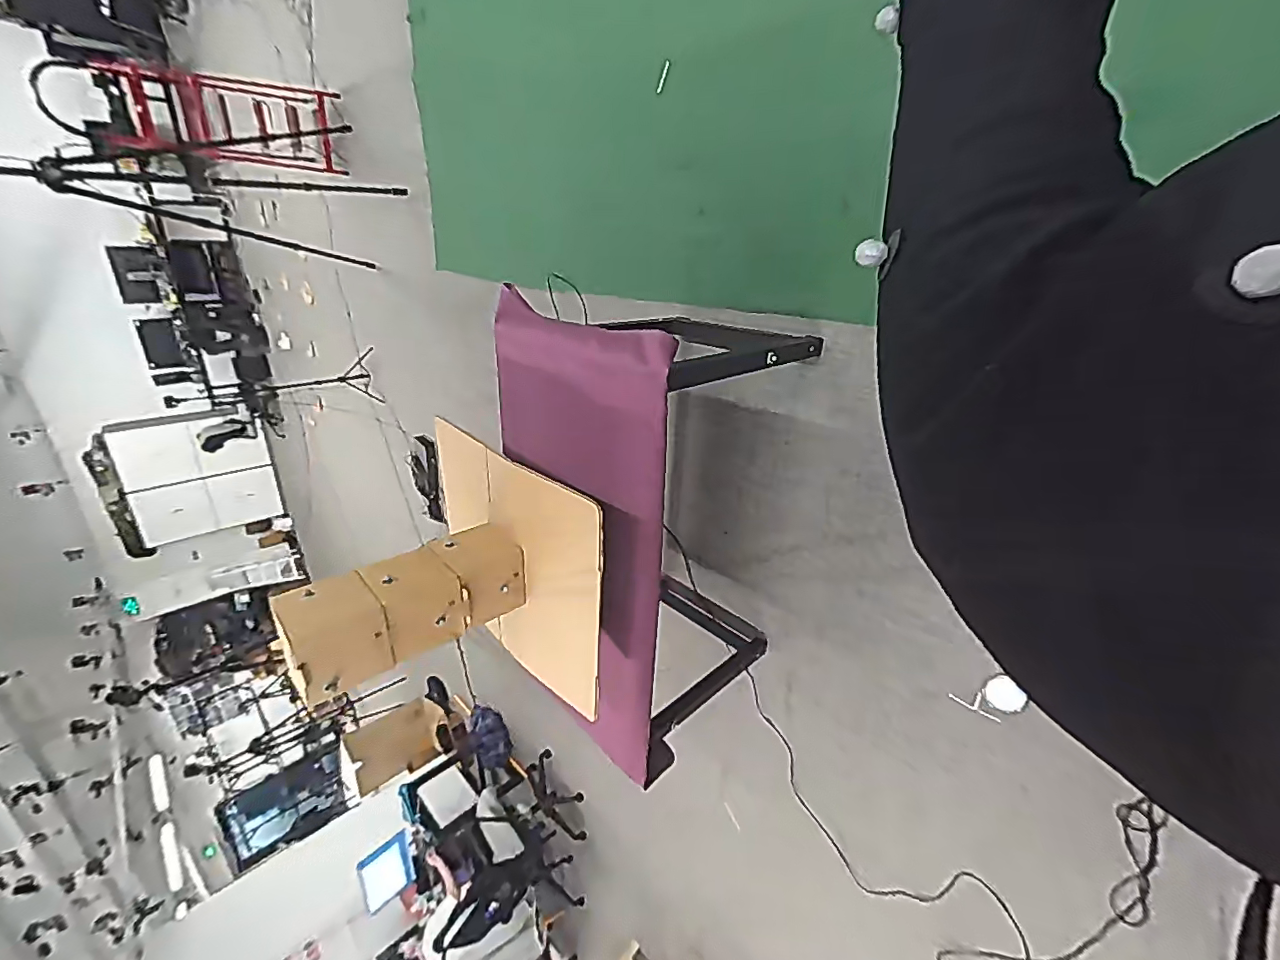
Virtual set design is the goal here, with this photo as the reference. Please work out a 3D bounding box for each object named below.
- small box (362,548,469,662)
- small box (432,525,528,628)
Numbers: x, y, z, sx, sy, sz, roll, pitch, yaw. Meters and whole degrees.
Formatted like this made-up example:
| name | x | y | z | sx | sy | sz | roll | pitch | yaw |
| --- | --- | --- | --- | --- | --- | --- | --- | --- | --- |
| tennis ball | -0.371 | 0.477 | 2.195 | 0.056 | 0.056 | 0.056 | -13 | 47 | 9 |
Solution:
| name | x | y | z | sx | sy | sz | roll | pitch | yaw |
| --- | --- | --- | --- | --- | --- | --- | --- | --- | --- |
| small box | -0.510 | 0.274 | 1.238 | 0.179 | 0.176 | 0.168 | 25 | 123 | 41 |
| small box | -0.395 | 0.230 | 1.345 | 0.179 | 0.176 | 0.168 | 28 | 125 | 40 |
